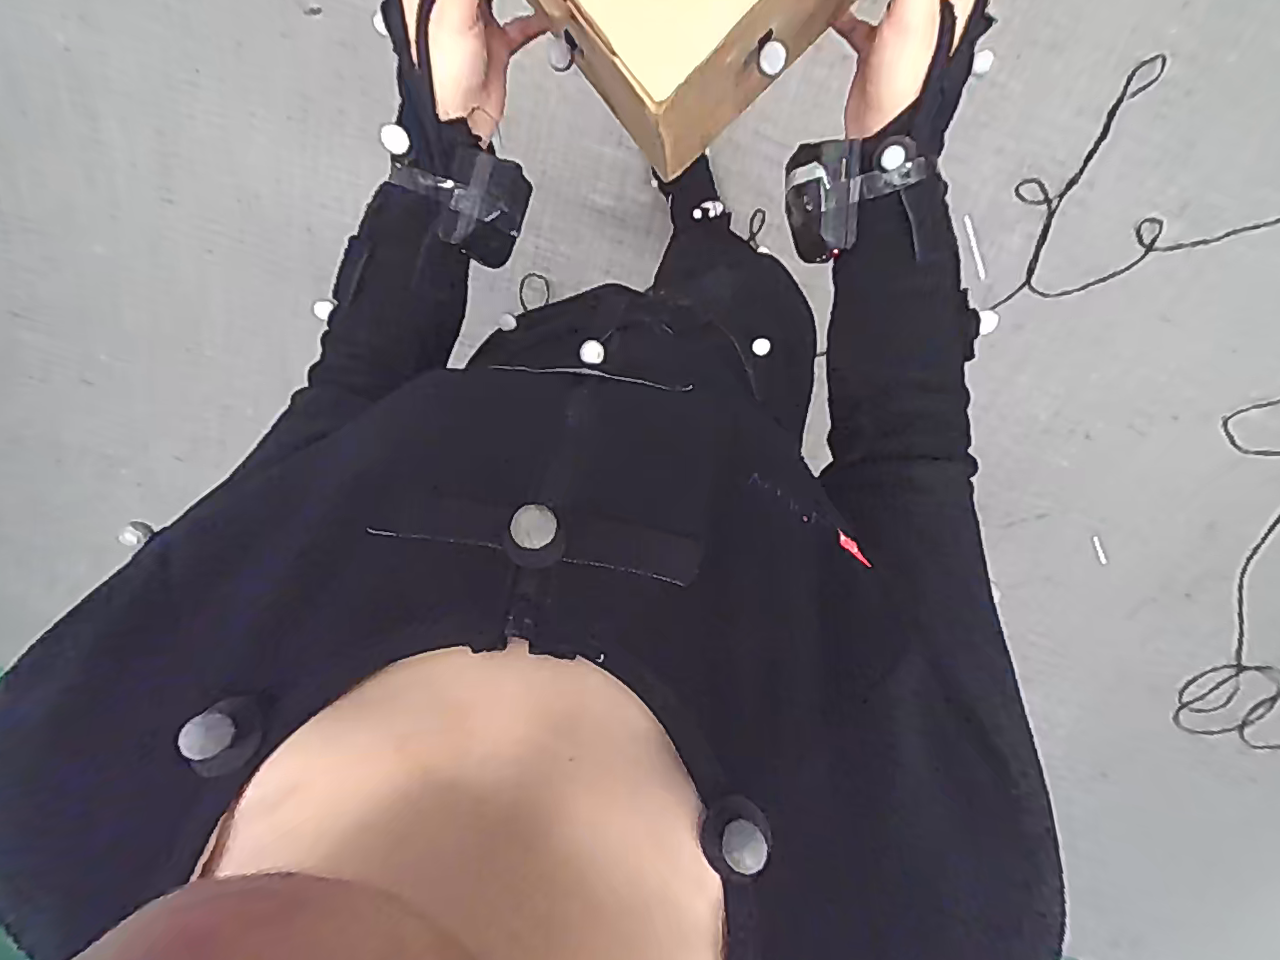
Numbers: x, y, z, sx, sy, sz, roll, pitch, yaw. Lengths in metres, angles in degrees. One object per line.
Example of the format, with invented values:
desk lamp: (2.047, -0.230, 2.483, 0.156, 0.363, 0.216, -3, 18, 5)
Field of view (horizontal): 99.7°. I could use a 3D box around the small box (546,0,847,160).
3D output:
small box: (0.029, -0.313, 0.289, 0.179, 0.176, 0.168, -39, 101, 17)
